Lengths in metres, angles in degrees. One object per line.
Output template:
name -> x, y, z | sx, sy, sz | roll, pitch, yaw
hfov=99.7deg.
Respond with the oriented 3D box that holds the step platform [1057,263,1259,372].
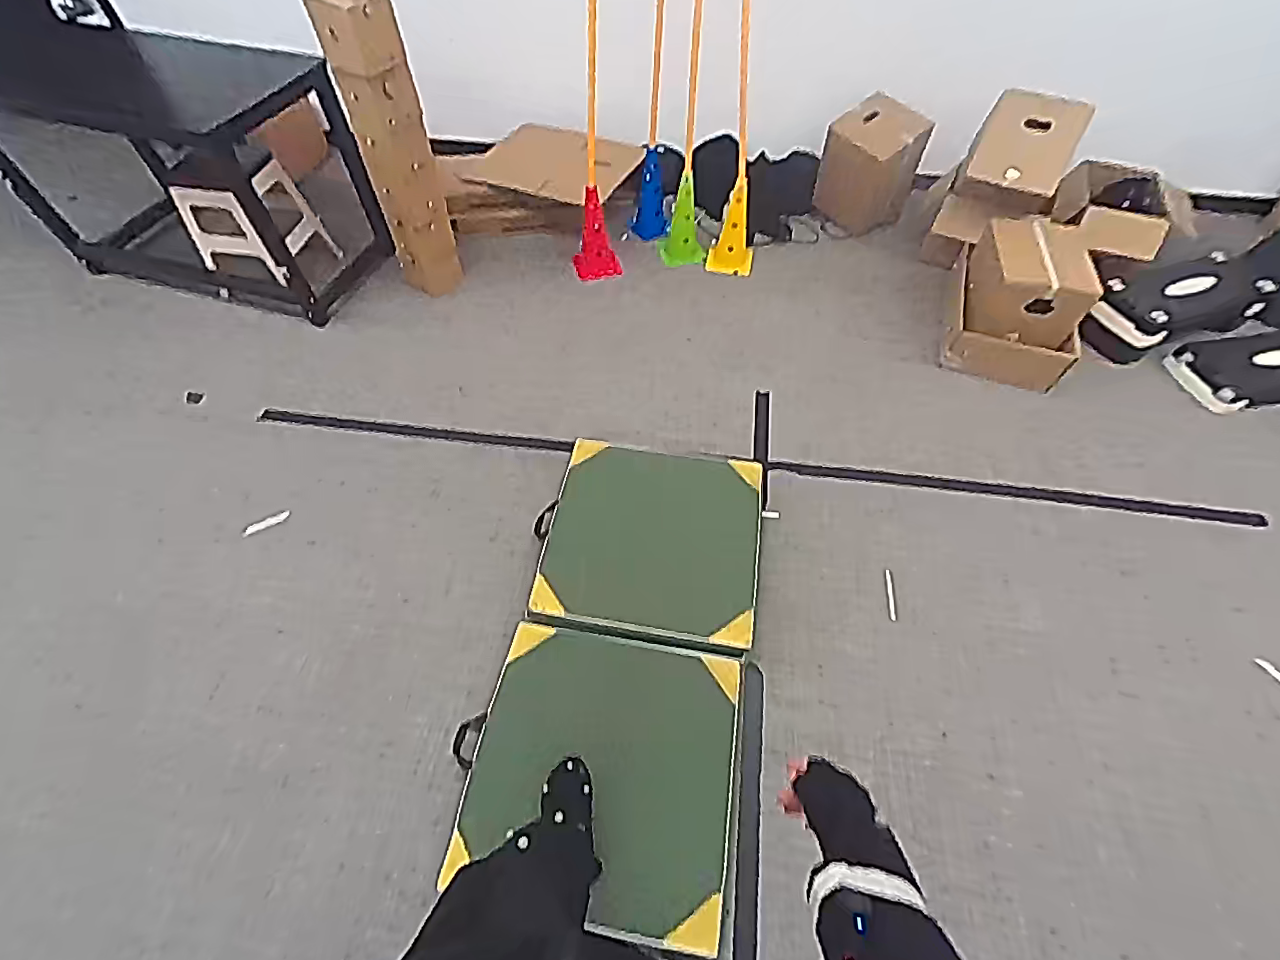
step platform -> 2.083, -0.664, 2.179 | 0.684, 0.204, 0.286 | -17, 57, -12
